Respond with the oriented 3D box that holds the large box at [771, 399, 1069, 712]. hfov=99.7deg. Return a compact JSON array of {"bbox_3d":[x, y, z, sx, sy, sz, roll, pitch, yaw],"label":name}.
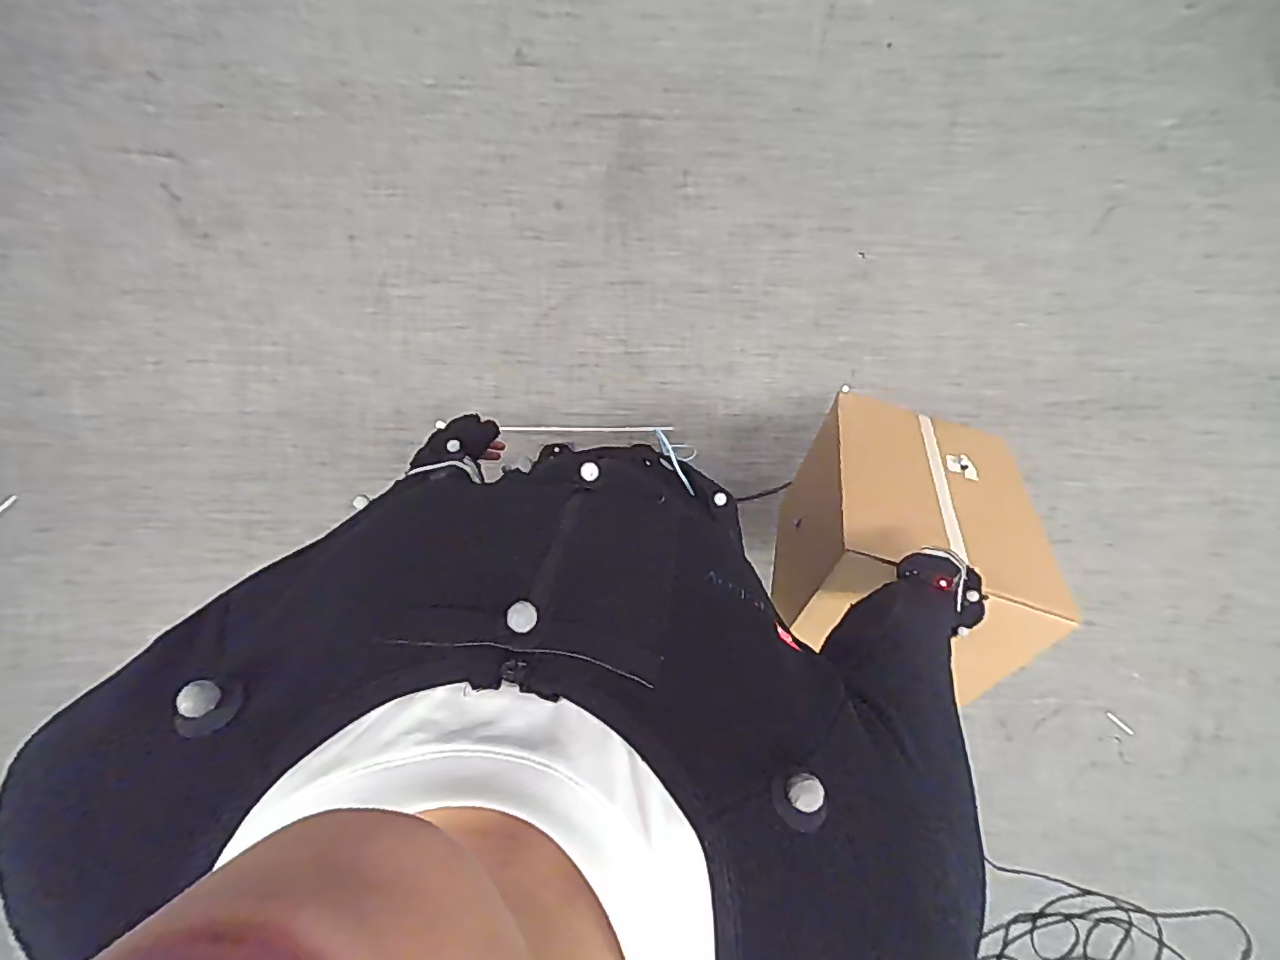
[{"bbox_3d":[0.437,0.122,0.960,0.320,0.408,0.320,18,132,3],"label":"large box"}]
